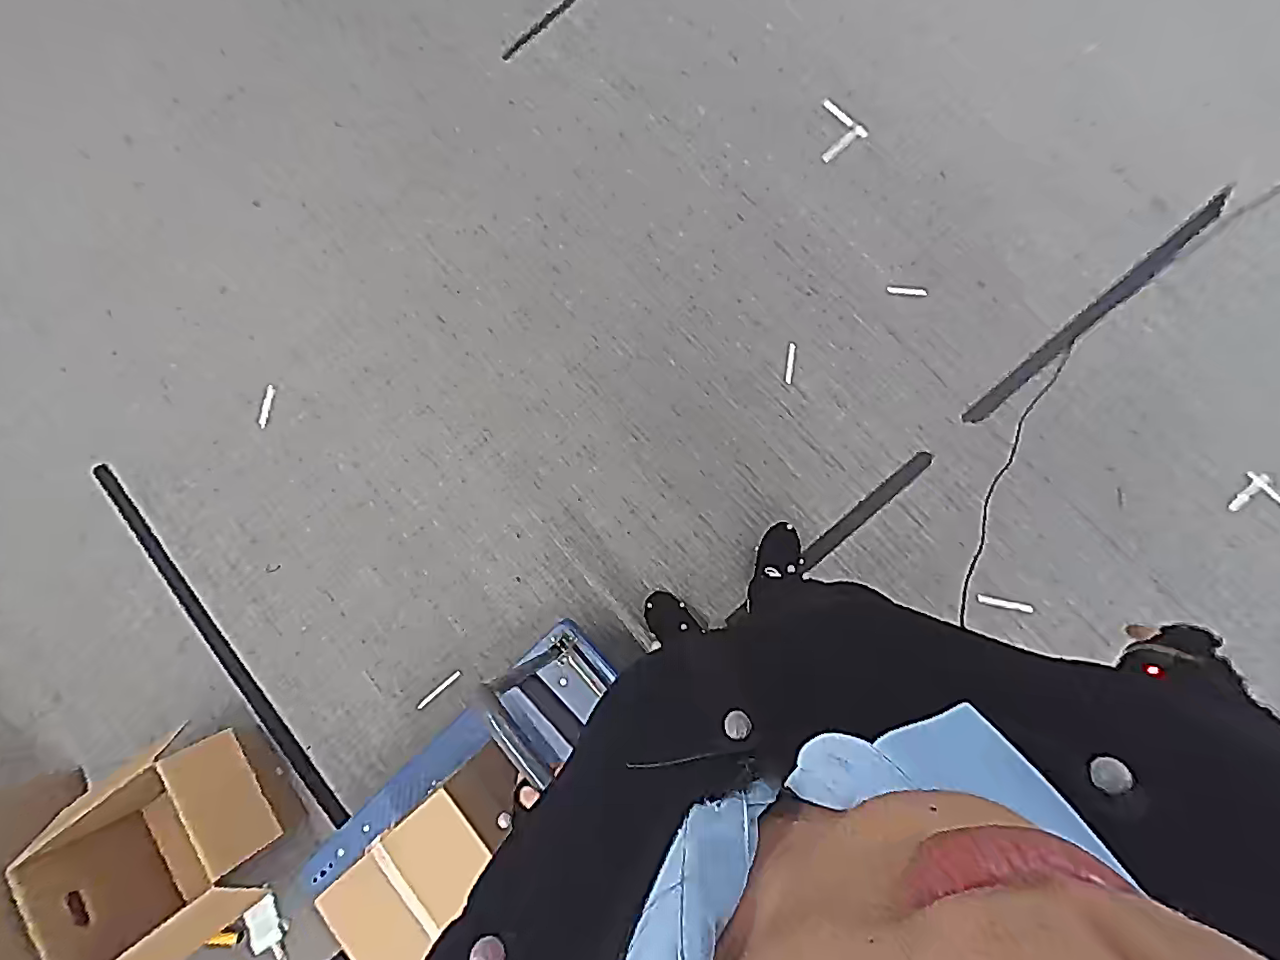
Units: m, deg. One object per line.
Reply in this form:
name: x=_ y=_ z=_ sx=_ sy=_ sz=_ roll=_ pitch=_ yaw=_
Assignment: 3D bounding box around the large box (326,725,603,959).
large box: x=-0.332 y=0.811 z=1.128 sx=0.320 sy=0.320 sz=0.408 roll=-42 pitch=82 yaw=-2
